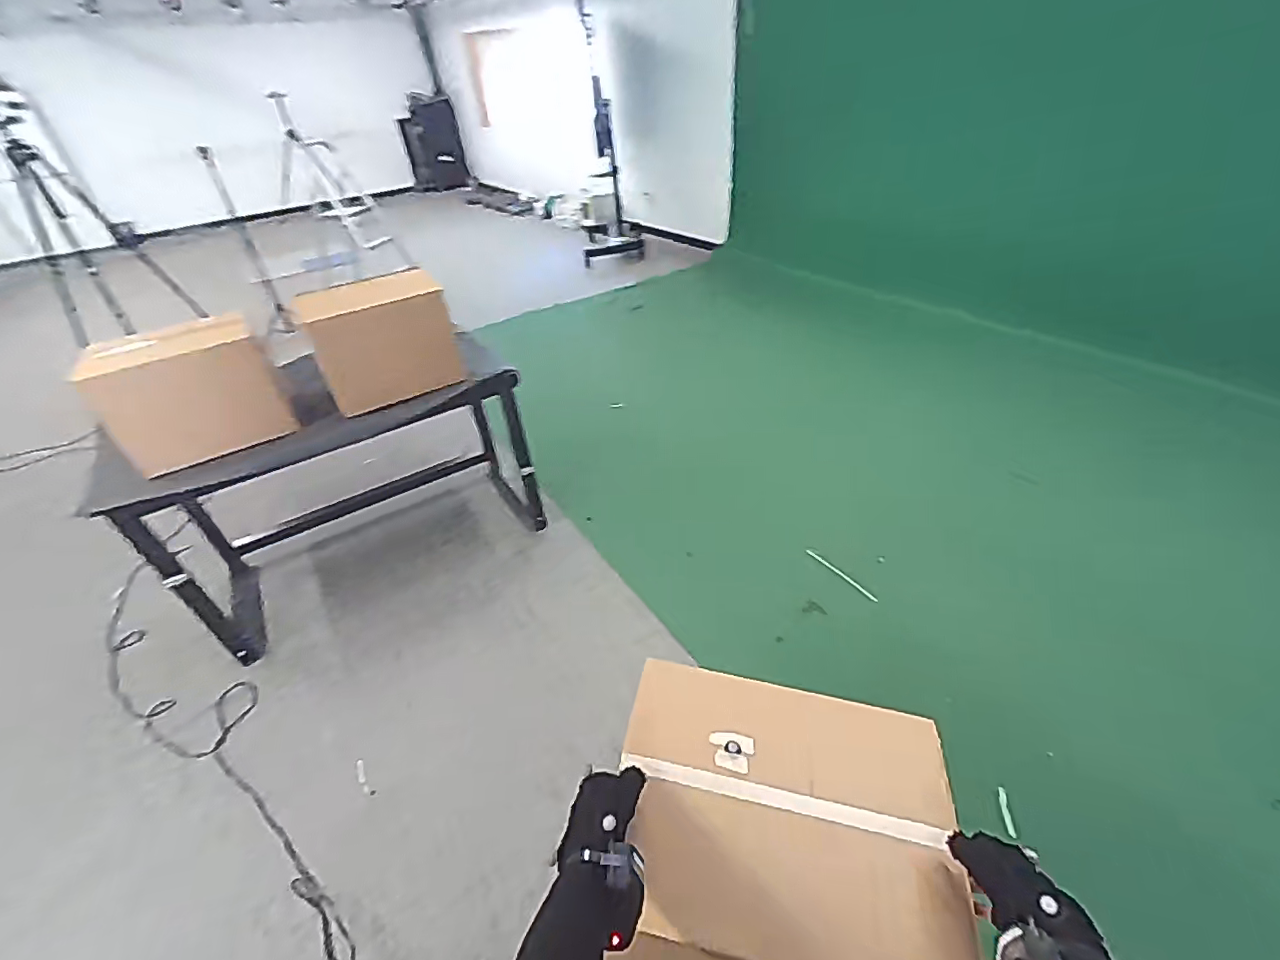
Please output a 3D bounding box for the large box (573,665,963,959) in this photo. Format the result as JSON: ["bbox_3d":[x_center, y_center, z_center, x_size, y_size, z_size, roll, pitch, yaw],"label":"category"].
[{"bbox_3d":[0.153,0.506,0.747,0.408,0.320,0.320,8,39,9],"label":"large box"}]
